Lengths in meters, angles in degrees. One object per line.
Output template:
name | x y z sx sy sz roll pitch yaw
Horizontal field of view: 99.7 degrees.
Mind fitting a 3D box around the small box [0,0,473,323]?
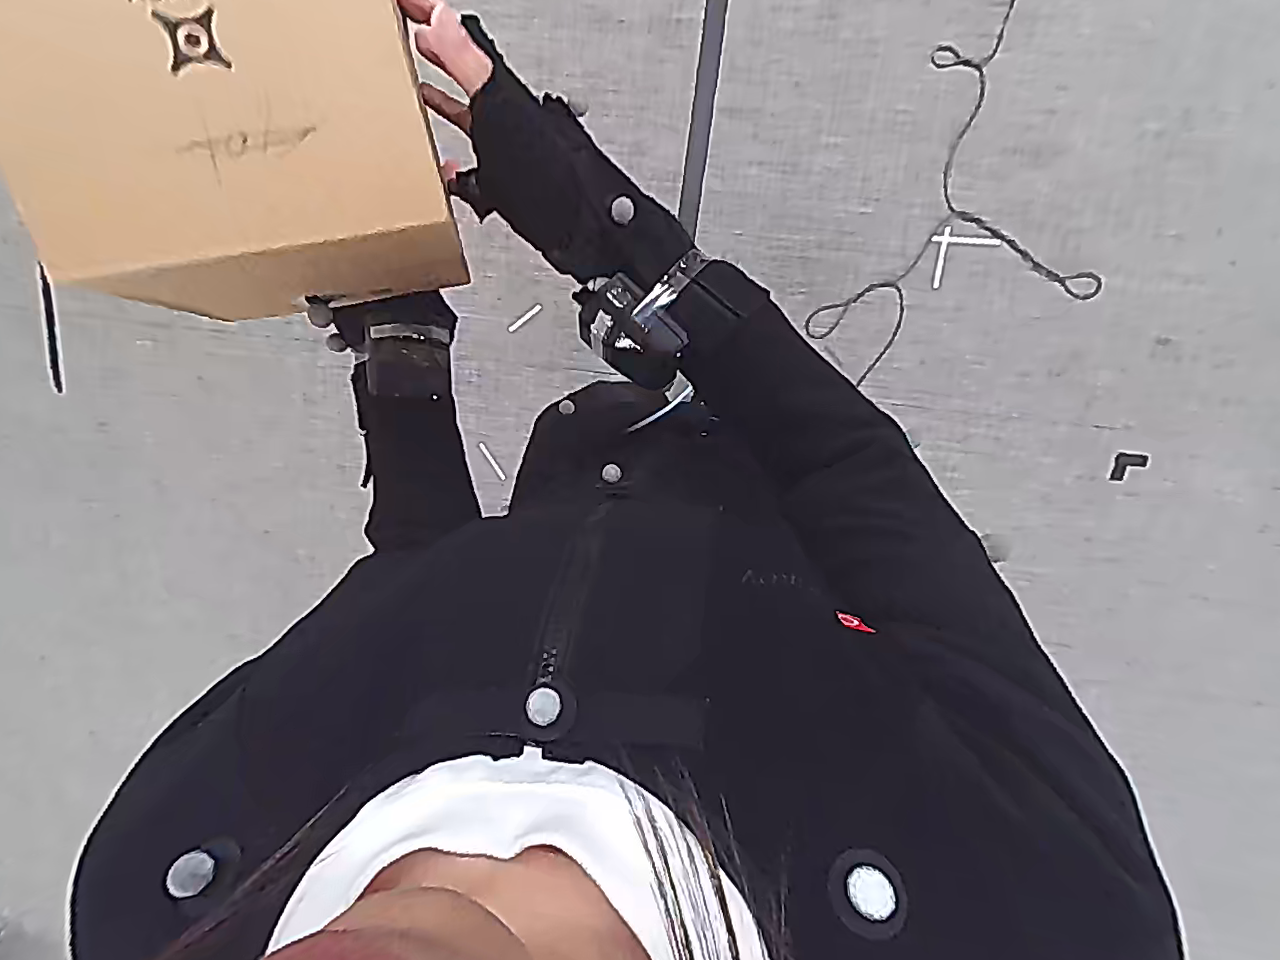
small box | -0.205 -0.202 0.316 0.168 0.176 0.179 -14 103 -9
